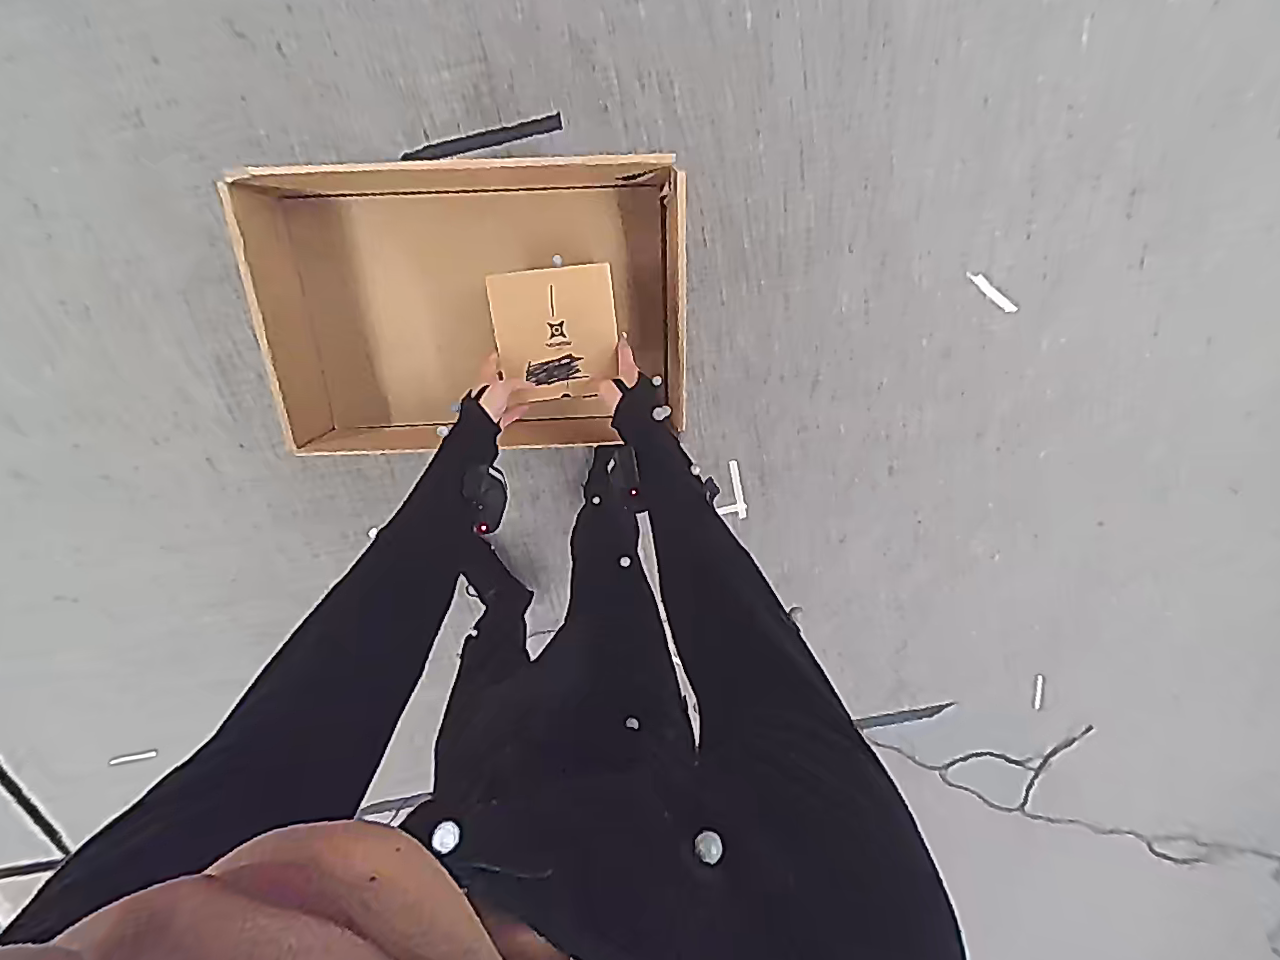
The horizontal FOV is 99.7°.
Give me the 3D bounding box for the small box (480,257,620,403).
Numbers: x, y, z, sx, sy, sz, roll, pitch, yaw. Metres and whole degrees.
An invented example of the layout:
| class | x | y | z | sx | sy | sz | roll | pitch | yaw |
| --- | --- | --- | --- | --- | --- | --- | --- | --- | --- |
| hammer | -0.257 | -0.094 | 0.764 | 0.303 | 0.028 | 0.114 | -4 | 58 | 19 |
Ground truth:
| class | x | y | z | sx | sy | sz | roll | pitch | yaw |
| --- | --- | --- | --- | --- | --- | --- | --- | --- | --- |
| small box | -0.118 | -0.224 | 0.786 | 0.168 | 0.176 | 0.179 | -7 | 112 | -1 |
